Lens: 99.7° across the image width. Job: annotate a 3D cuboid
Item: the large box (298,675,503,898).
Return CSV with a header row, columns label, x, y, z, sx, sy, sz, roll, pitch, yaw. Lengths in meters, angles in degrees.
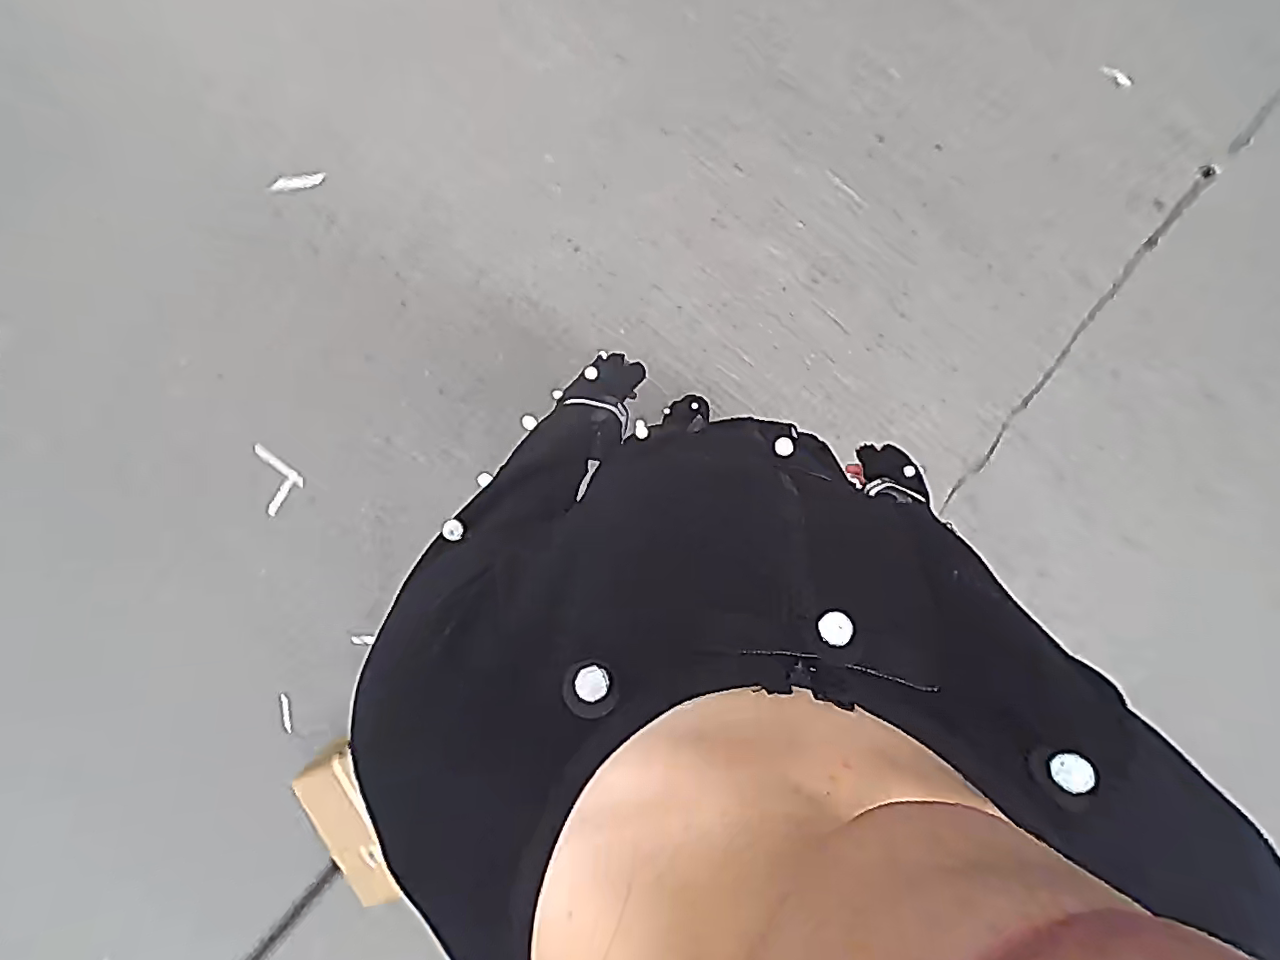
label,x,y,z,sx,sy,sz,roll,pitch,yaw
large box,-0.660,0.857,1.553,0.320,0.320,0.408,-26,96,9
